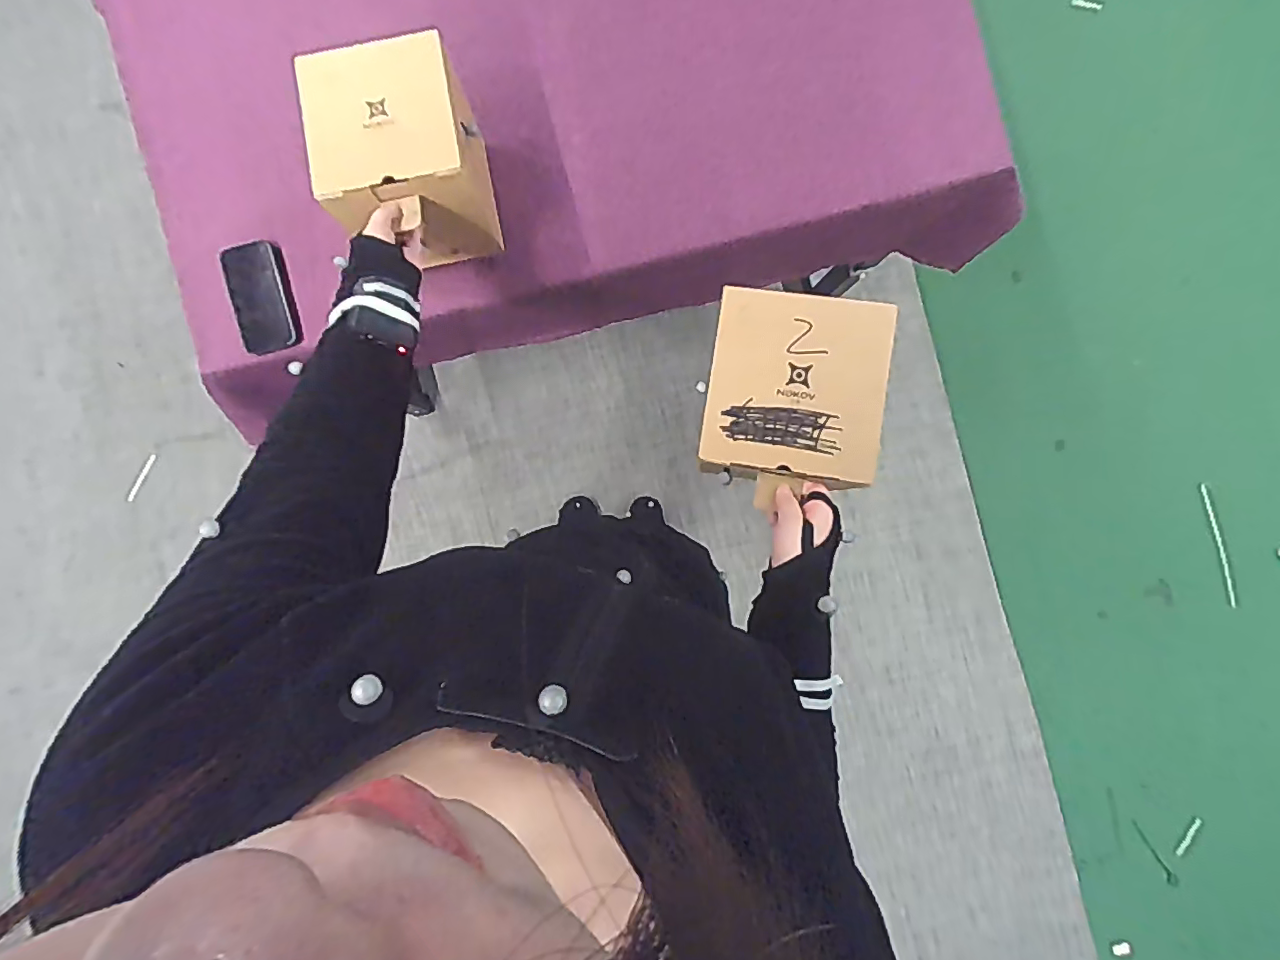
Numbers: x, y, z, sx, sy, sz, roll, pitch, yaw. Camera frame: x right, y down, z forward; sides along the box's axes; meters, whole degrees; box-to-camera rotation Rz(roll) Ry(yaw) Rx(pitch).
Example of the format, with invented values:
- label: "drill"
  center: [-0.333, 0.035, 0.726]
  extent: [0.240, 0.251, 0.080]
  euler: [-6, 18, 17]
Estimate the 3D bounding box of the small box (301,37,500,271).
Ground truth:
- label: "small box"
  center: [-0.288, -0.395, 0.681]
  extent: [0.168, 0.176, 0.179]
  euler: [-11, 84, 0]
